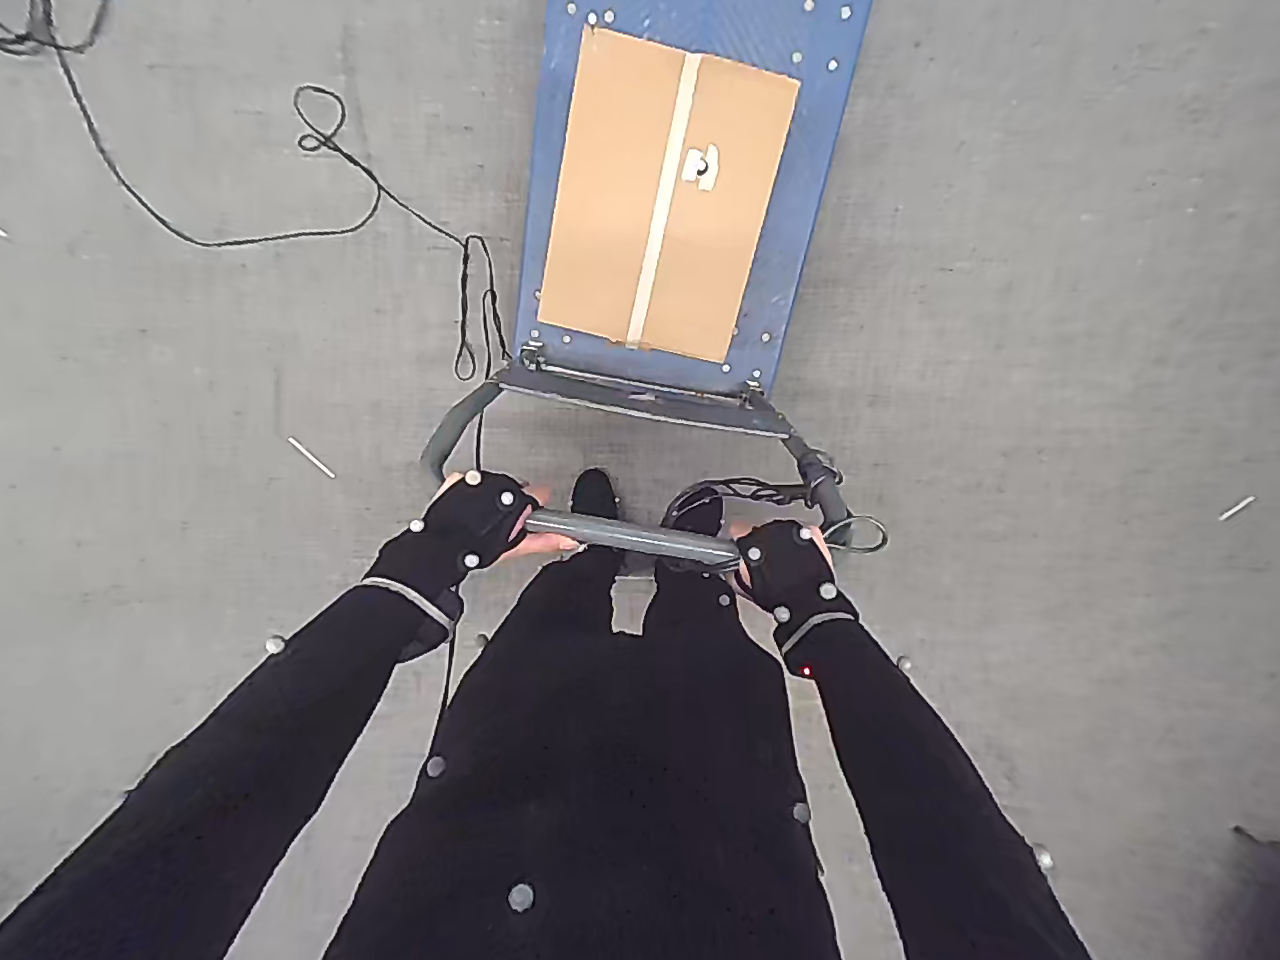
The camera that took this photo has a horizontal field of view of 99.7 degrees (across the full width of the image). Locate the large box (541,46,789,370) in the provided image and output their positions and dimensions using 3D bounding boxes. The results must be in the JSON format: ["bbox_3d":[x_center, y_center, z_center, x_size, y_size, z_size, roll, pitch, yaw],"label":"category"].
[{"bbox_3d":[0.029,-0.436,0.963,0.320,0.320,0.408,12,107,-4],"label":"large box"}]
